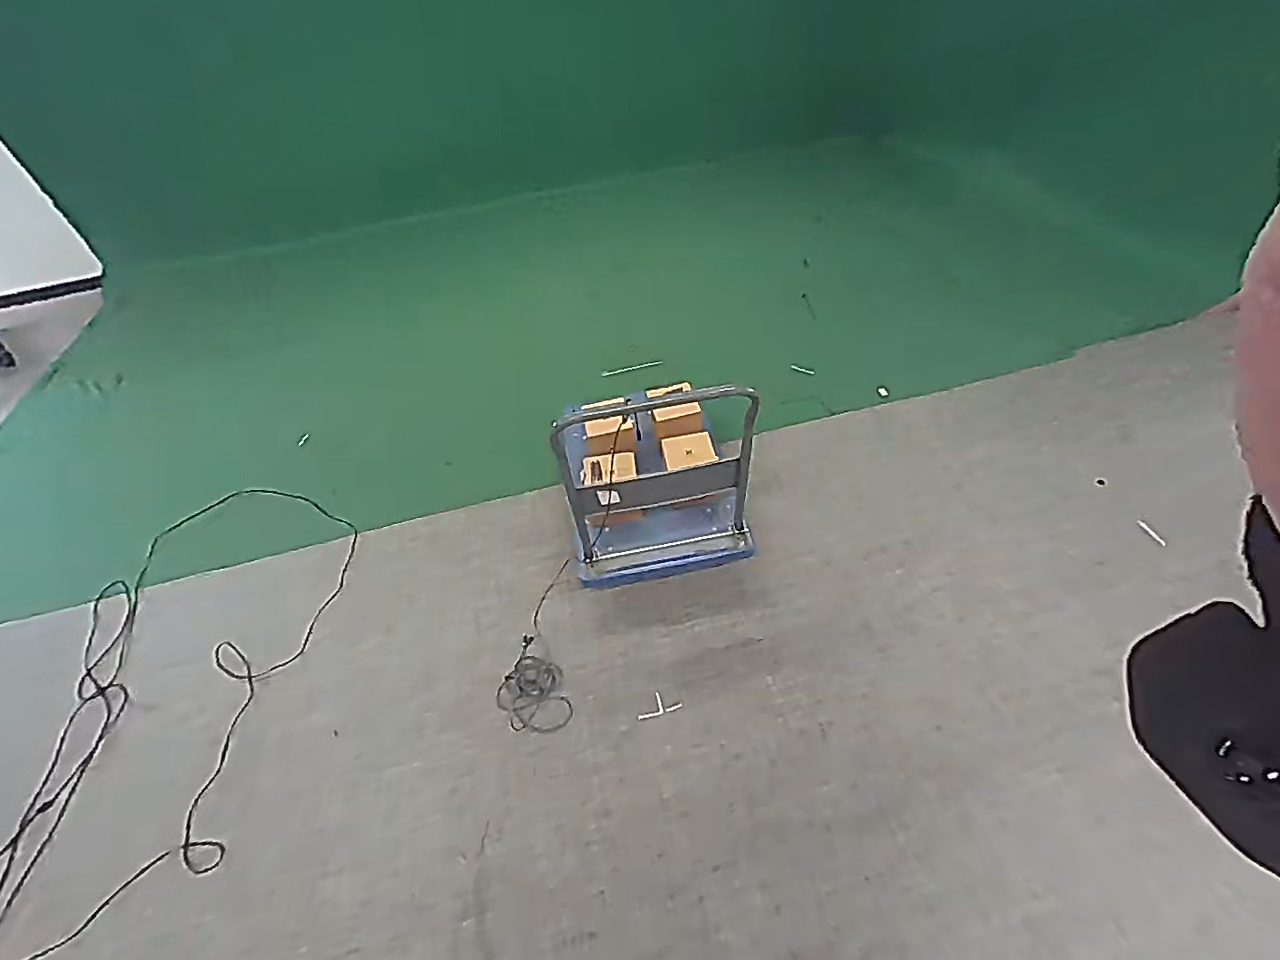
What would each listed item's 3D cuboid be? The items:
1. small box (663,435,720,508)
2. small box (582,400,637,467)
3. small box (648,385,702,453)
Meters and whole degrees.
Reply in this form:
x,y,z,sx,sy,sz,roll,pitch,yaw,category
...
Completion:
x,y,z,sx,sy,sz,roll,pitch,yaw,category
0.175,-0.028,1.857,0.168,0.176,0.179,-10,49,-1,small box
-0.112,-0.166,2.017,0.168,0.176,0.179,-13,48,-5,small box
0.132,-0.226,2.036,0.168,0.176,0.179,-14,49,-3,small box
